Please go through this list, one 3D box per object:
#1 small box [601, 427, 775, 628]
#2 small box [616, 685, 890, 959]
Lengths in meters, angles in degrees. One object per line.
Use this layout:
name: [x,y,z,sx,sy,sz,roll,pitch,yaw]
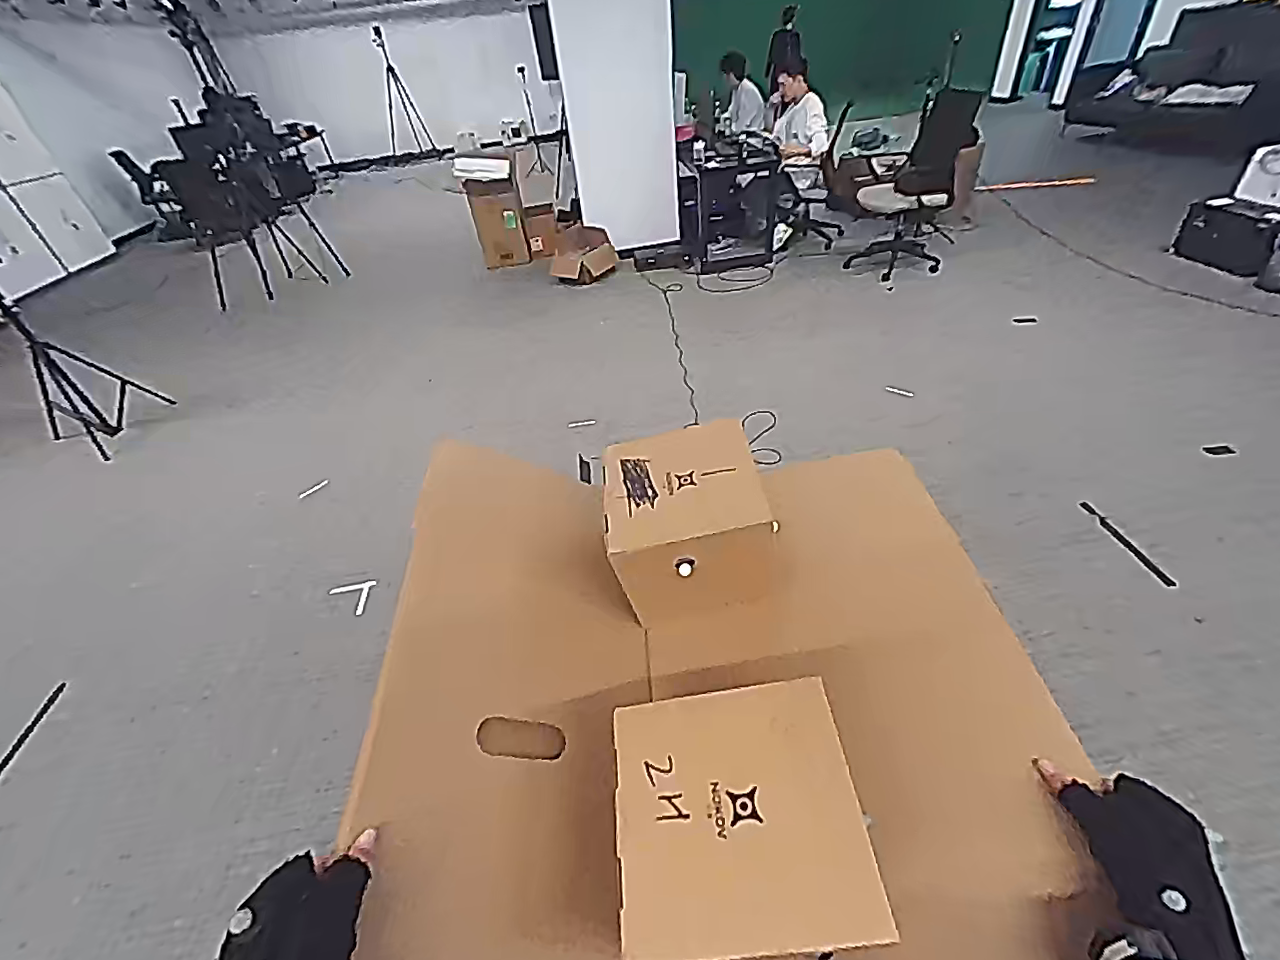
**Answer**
small box: [0.060,0.065,0.676,0.179,0.176,0.168,-13,46,6]
small box: [0.086,0.295,0.457,0.179,0.176,0.168,-12,46,8]
